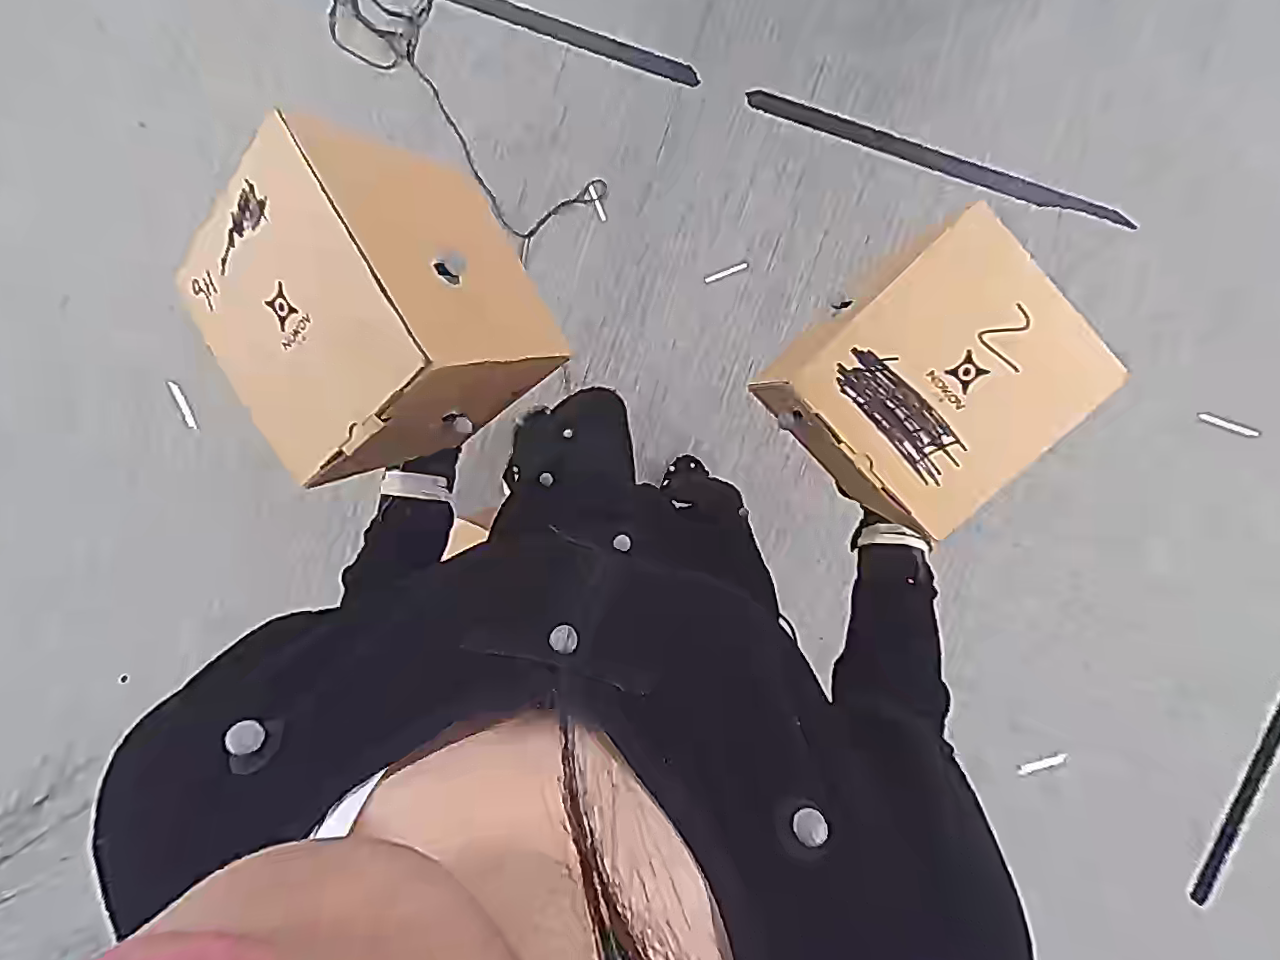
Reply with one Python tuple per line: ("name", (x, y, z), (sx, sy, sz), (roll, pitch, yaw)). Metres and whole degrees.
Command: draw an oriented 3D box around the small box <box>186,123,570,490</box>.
("small box", (-0.186, -0.122, 0.421), (0.168, 0.176, 0.179), (-31, 92, 27))
